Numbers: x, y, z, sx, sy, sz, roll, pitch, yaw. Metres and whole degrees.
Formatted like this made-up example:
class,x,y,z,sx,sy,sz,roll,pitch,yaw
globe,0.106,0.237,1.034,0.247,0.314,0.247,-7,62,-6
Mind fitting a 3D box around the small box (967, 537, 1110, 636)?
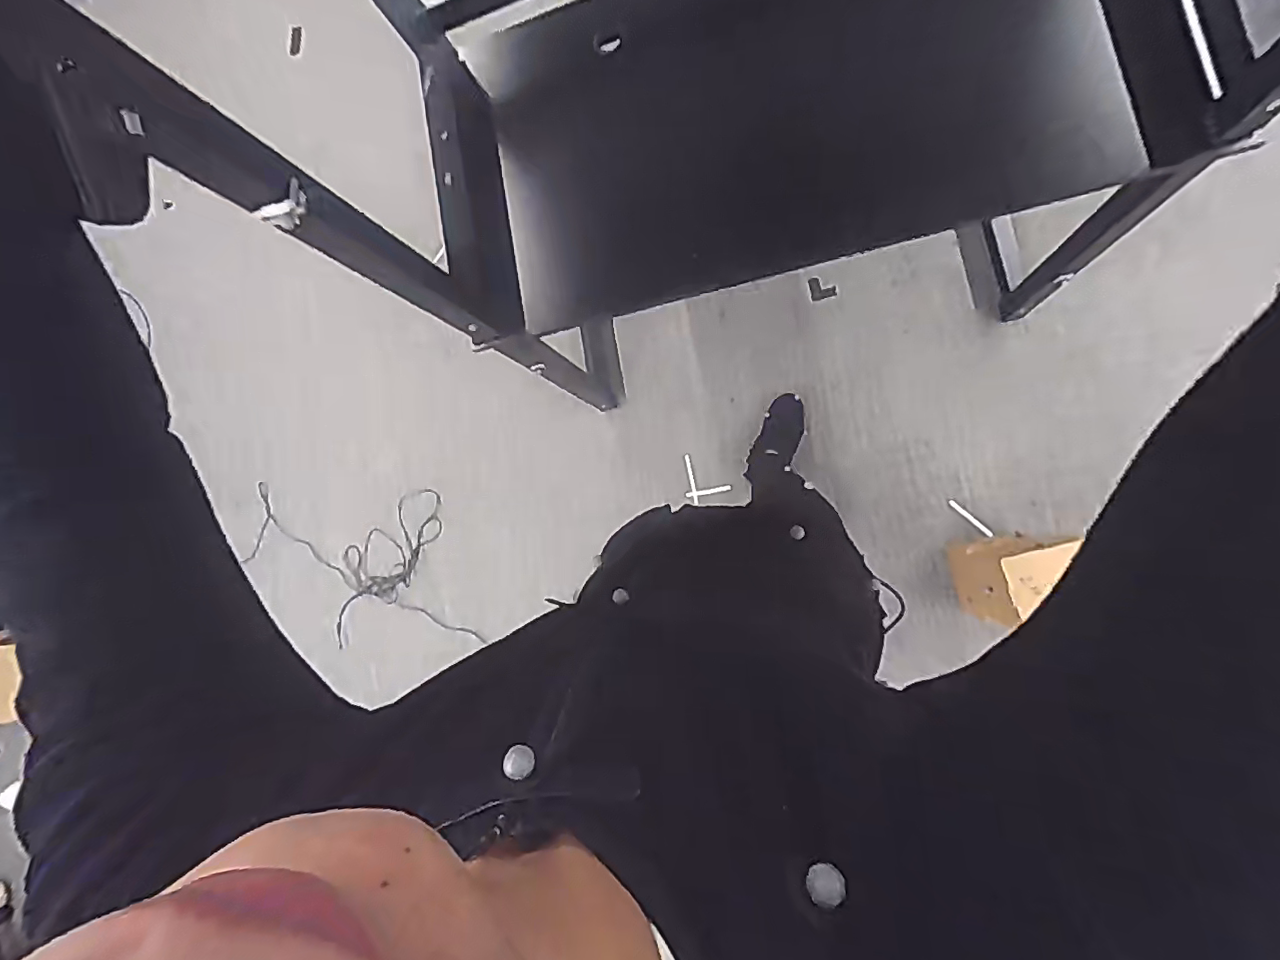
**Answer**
class,x,y,z,sx,sy,sz,roll,pitch,yaw
small box,0.855,0.225,1.179,0.179,0.176,0.168,-16,84,13
